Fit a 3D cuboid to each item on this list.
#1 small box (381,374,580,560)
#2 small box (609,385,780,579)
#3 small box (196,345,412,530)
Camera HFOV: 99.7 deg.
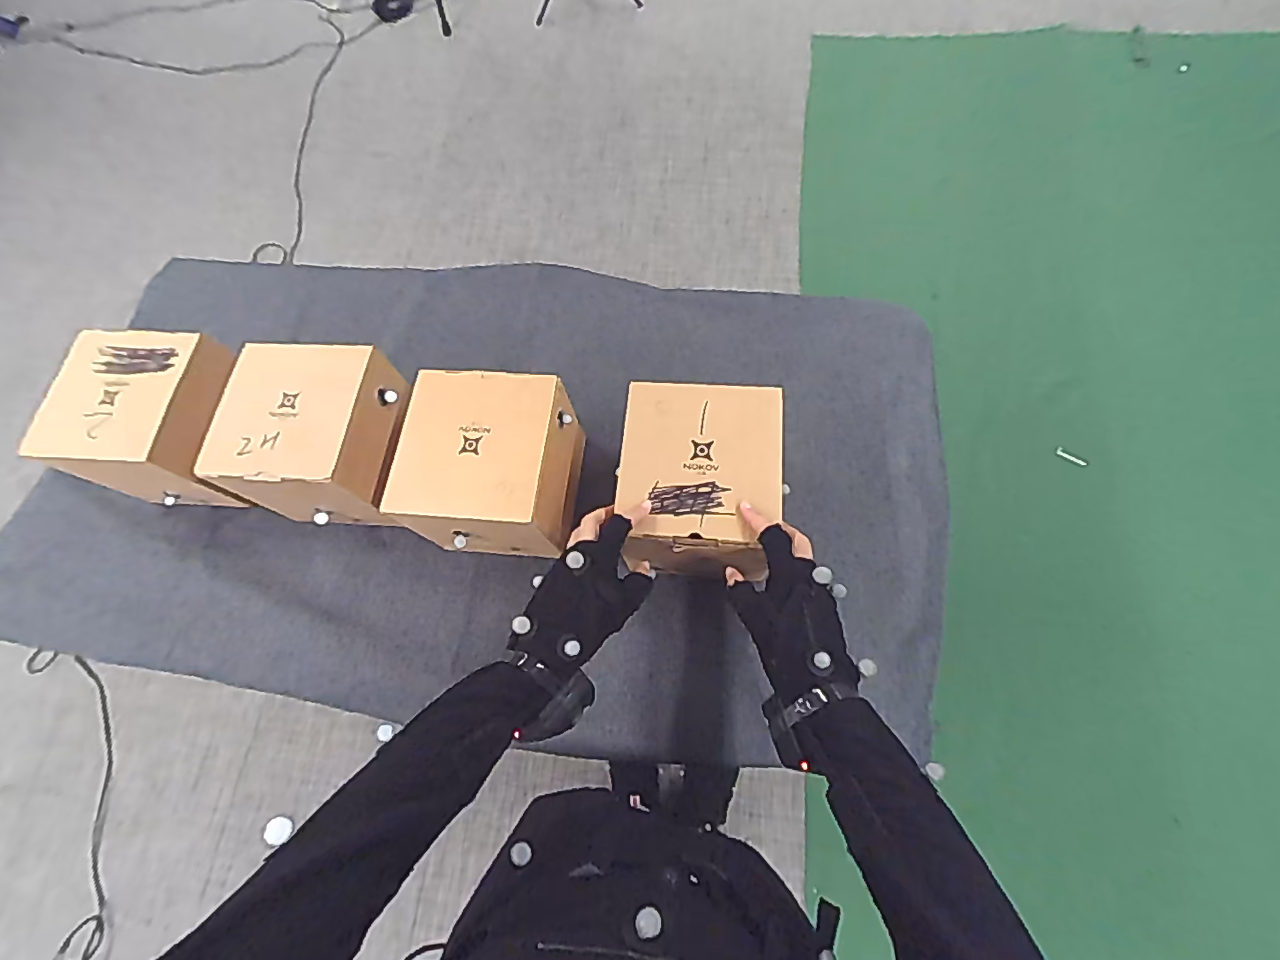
[{"bbox_3d":[-0.175,-0.008,0.656,0.168,0.176,0.179,3,68,6],"label":"small box"},{"bbox_3d":[0.066,0.011,0.625,0.168,0.176,0.179,4,68,6],"label":"small box"},{"bbox_3d":[-0.393,-0.049,0.688,0.168,0.176,0.179,3,69,6],"label":"small box"}]
